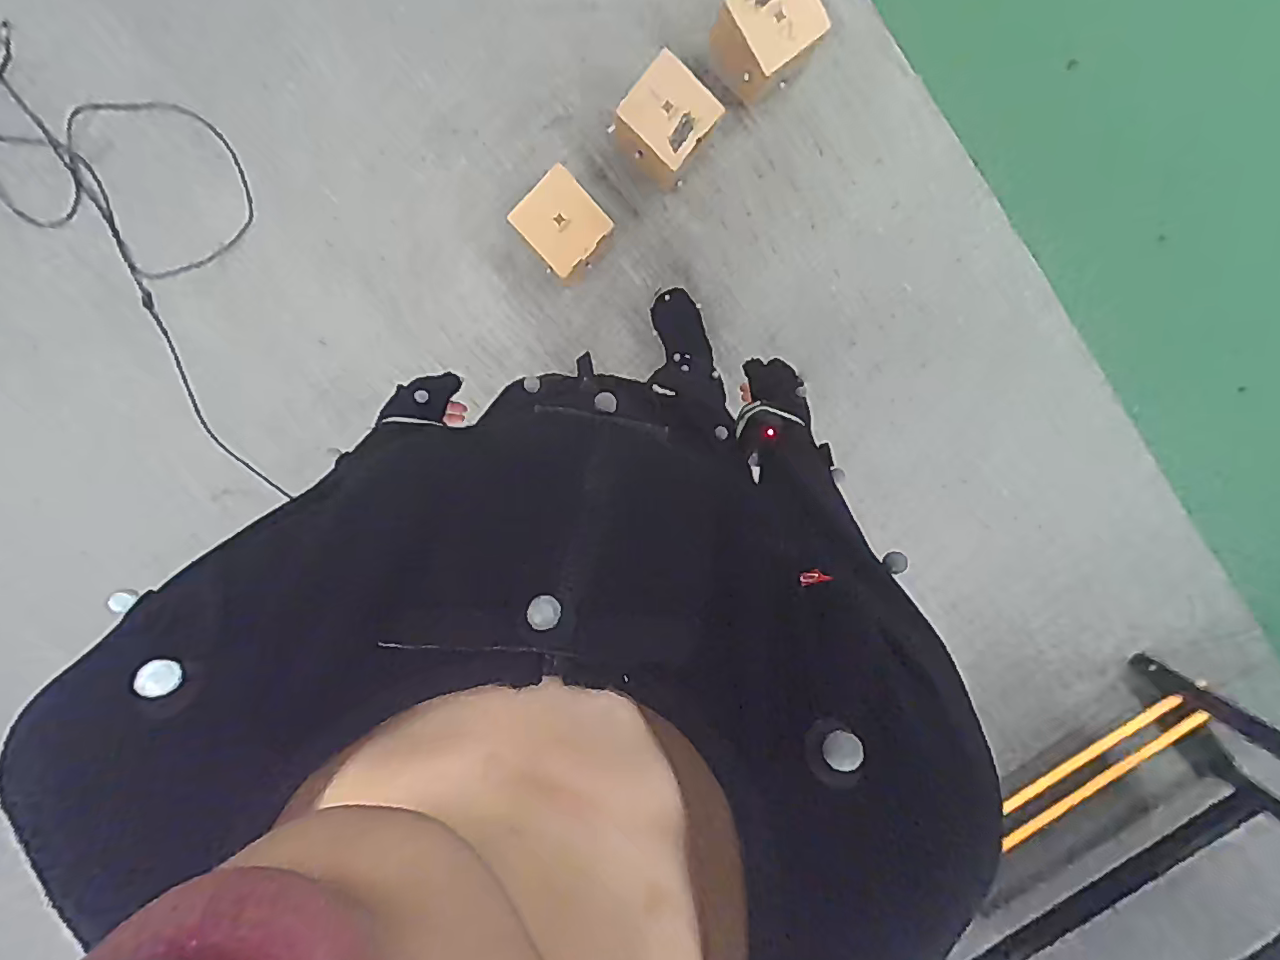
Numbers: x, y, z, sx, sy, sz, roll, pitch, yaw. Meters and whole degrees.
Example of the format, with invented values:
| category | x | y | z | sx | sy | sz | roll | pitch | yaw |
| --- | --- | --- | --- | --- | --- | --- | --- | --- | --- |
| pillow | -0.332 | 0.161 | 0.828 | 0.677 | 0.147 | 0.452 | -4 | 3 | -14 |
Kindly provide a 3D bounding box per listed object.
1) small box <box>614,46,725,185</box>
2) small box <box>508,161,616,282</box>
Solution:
| category | x | y | z | sx | sy | sz | roll | pitch | yaw |
| --- | --- | --- | --- | --- | --- | --- | --- | --- | --- |
| small box | 0.061 | -0.795 | 1.209 | 0.179 | 0.176 | 0.168 | 41 | 98 | -9 |
| small box | -0.173 | -0.584 | 1.250 | 0.168 | 0.176 | 0.179 | -43 | 102 | 8 |
